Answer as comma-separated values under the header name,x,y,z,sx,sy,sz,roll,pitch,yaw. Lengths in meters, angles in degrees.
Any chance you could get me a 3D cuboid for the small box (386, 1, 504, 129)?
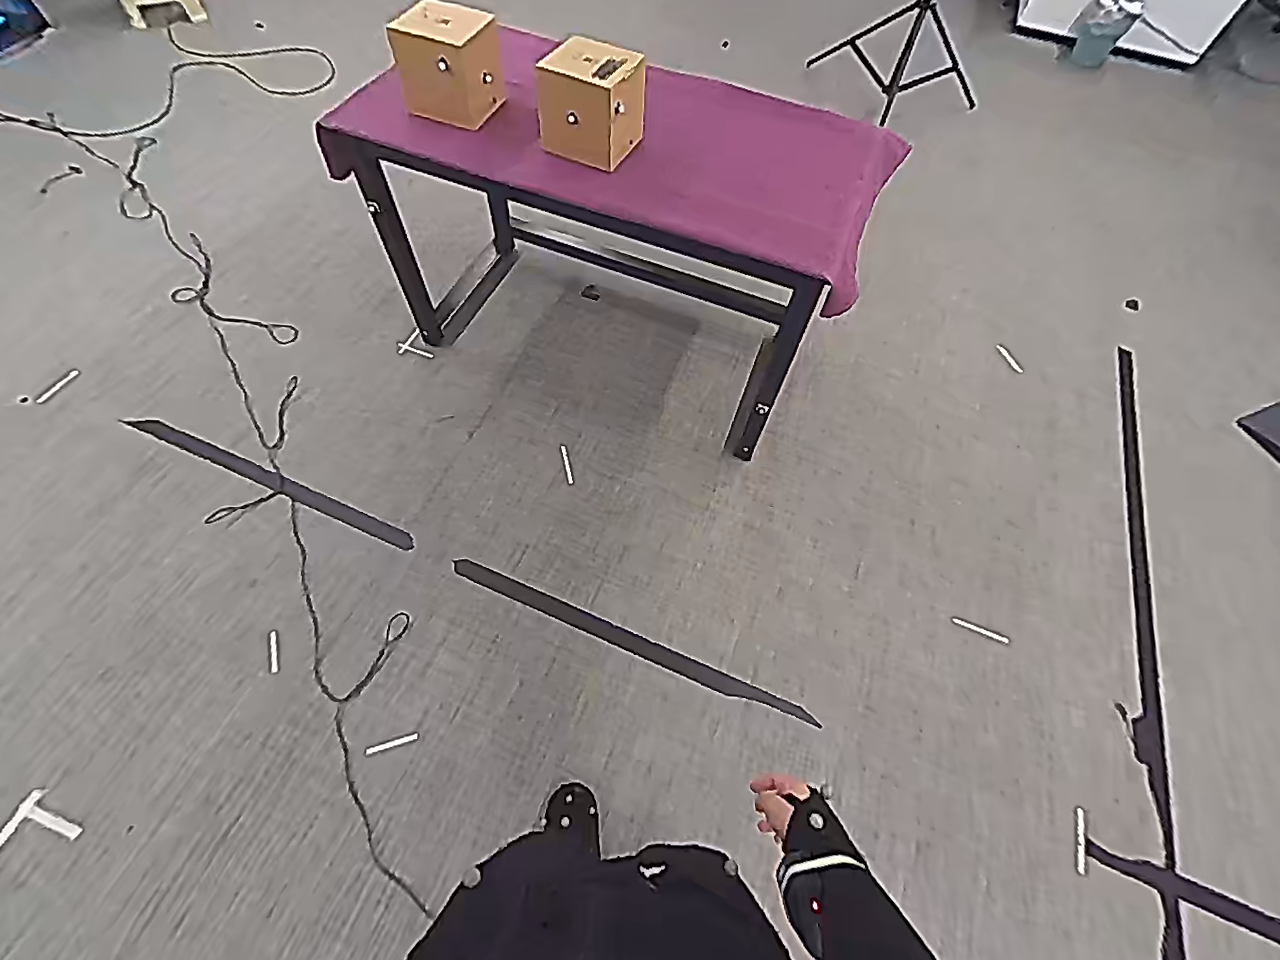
name,x,y,z,sx,sy,sz,roll,pitch,yaw
small box,-0.425,-0.930,1.220,0.179,0.176,0.168,18,60,7
